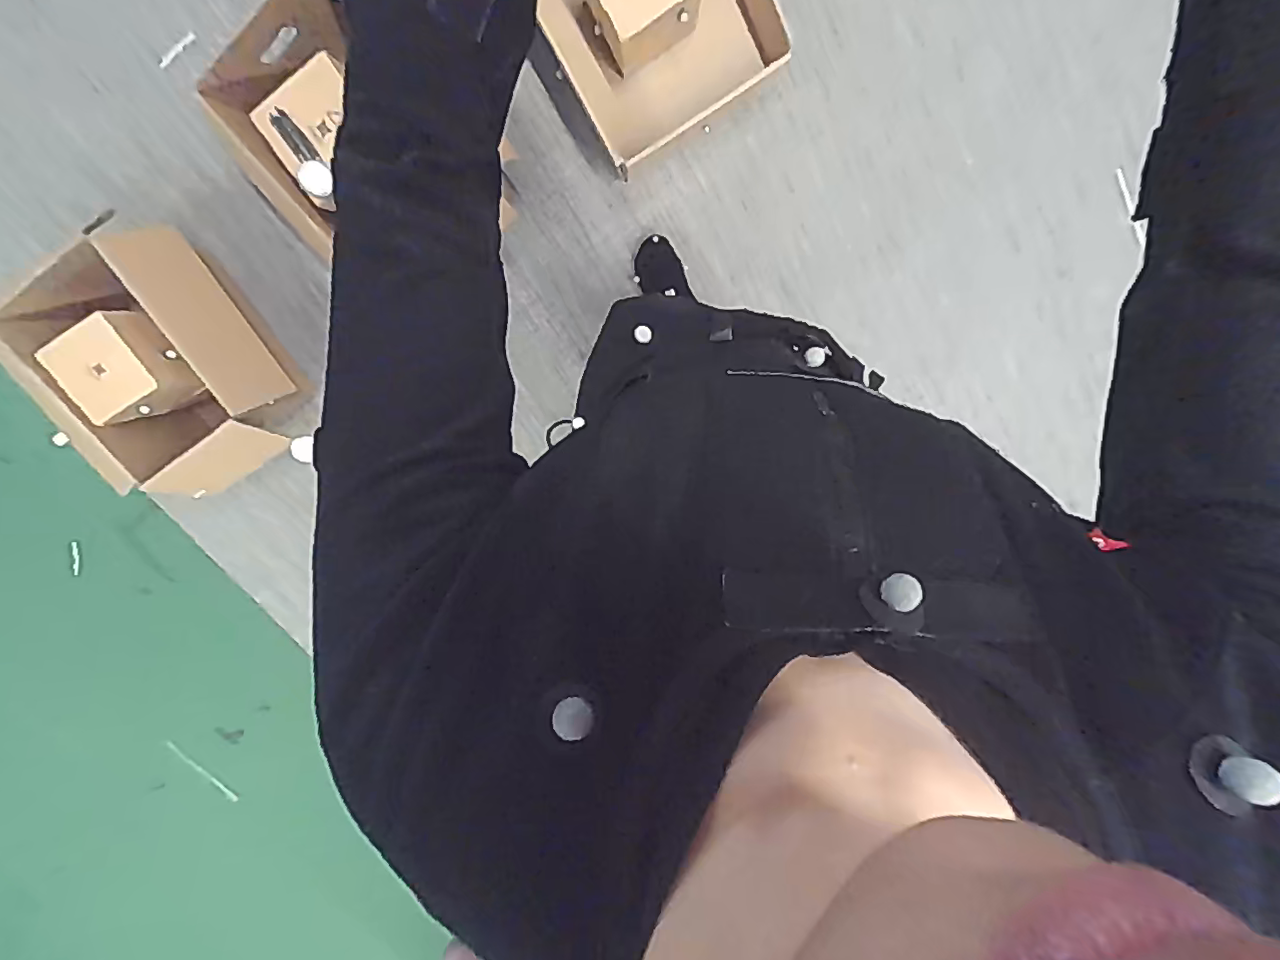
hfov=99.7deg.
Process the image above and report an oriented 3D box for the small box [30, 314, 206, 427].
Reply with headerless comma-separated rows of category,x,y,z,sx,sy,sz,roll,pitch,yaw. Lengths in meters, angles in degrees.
small box,-1.069,-0.236,1.132,0.179,0.176,0.168,-28,106,8
